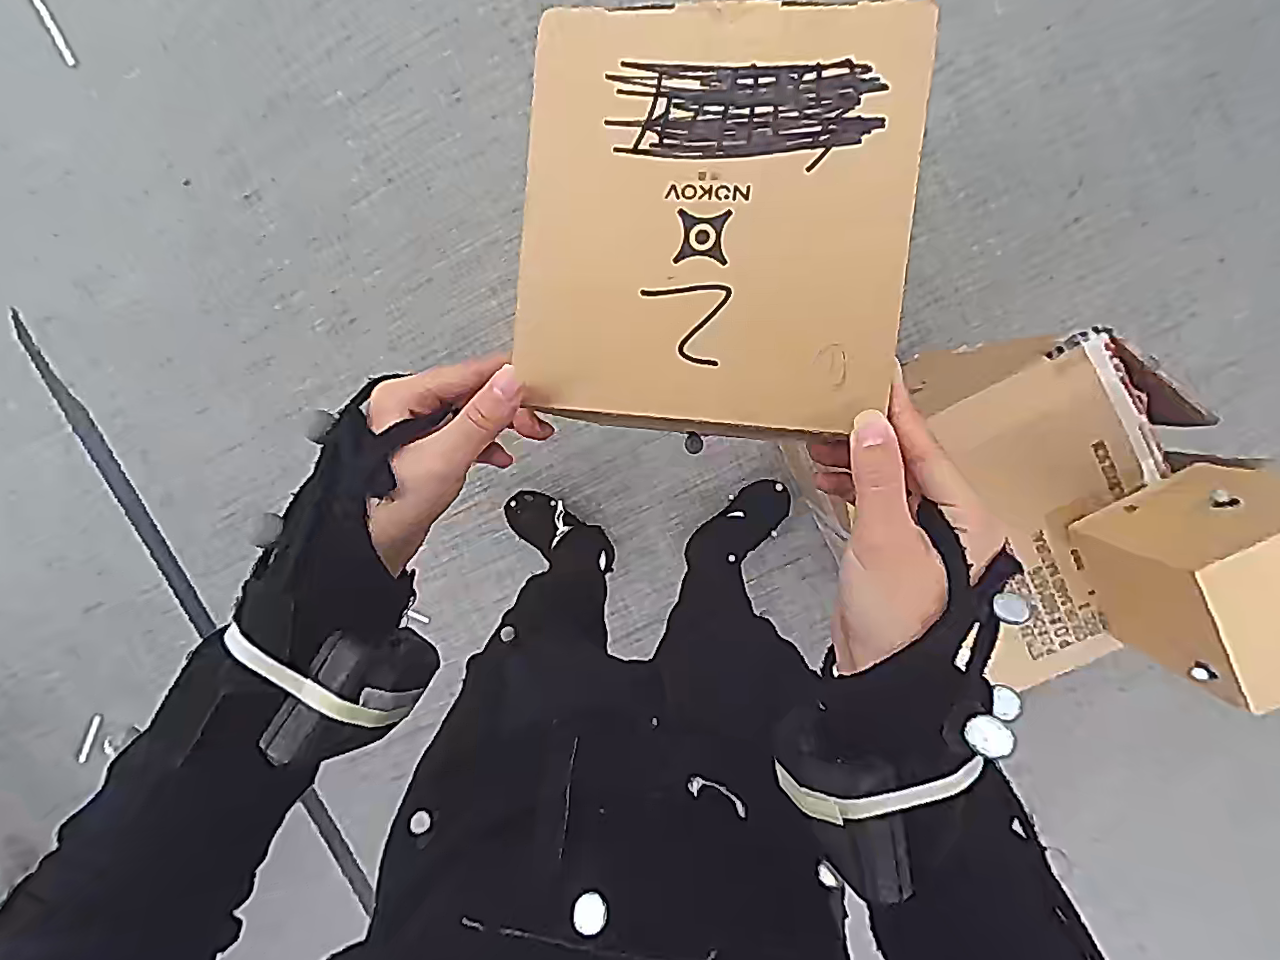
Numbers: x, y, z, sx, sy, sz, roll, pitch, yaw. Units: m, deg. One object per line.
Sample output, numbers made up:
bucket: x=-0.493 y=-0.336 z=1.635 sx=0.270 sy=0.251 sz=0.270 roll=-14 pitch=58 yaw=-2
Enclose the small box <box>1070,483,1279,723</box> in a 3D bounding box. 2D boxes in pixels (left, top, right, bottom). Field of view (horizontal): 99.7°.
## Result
small box: x=0.631 y=0.116 z=0.593 sx=0.168 sy=0.176 sz=0.179 roll=-29 pitch=99 yaw=7
